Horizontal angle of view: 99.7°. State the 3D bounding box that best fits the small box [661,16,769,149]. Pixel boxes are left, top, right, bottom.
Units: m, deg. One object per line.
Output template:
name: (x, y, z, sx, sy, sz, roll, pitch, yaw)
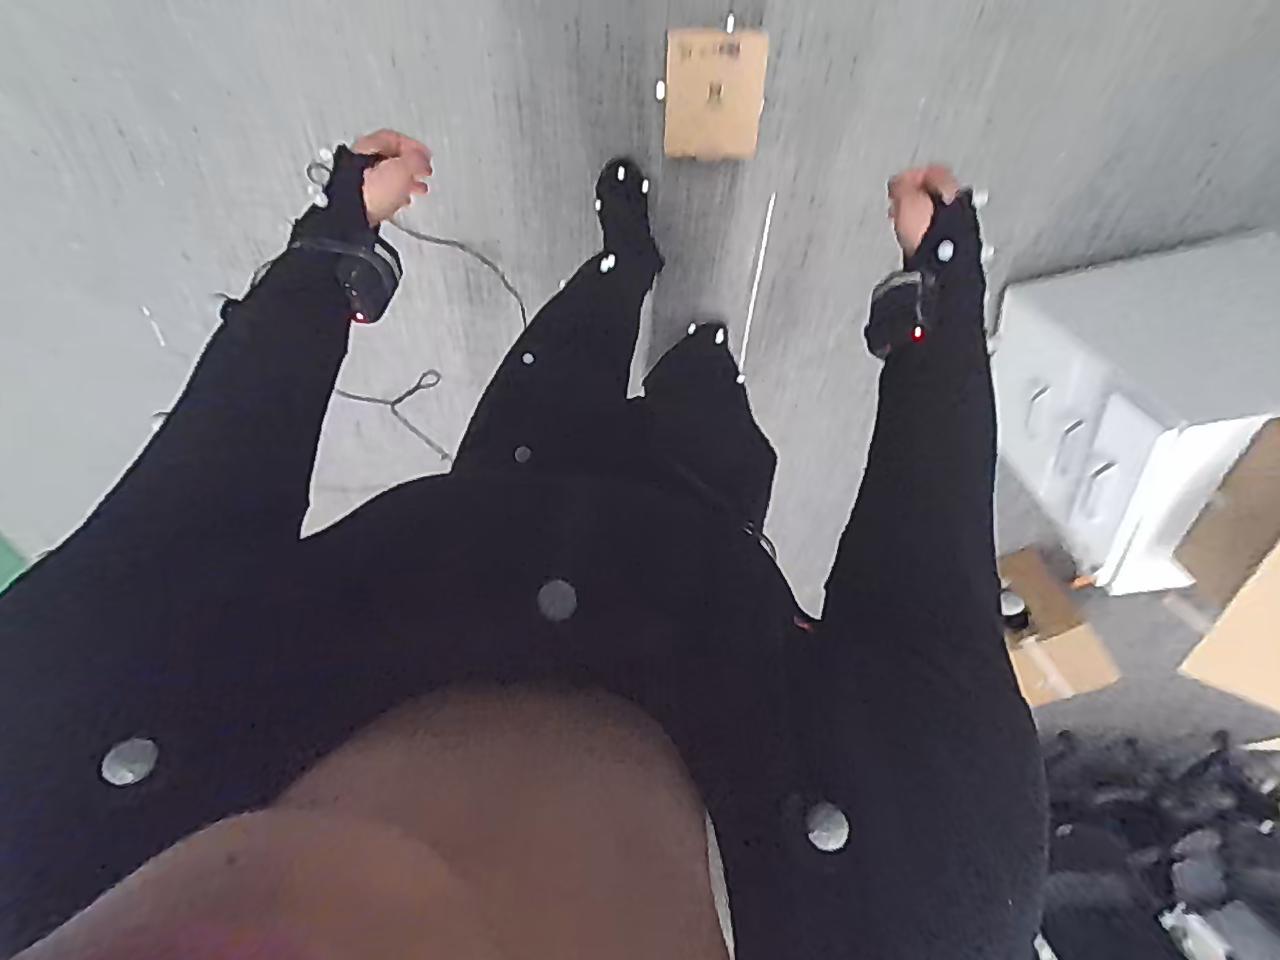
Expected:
small box: (0.125, -0.712, 0.967, 0.168, 0.176, 0.179, 2, 131, 1)
